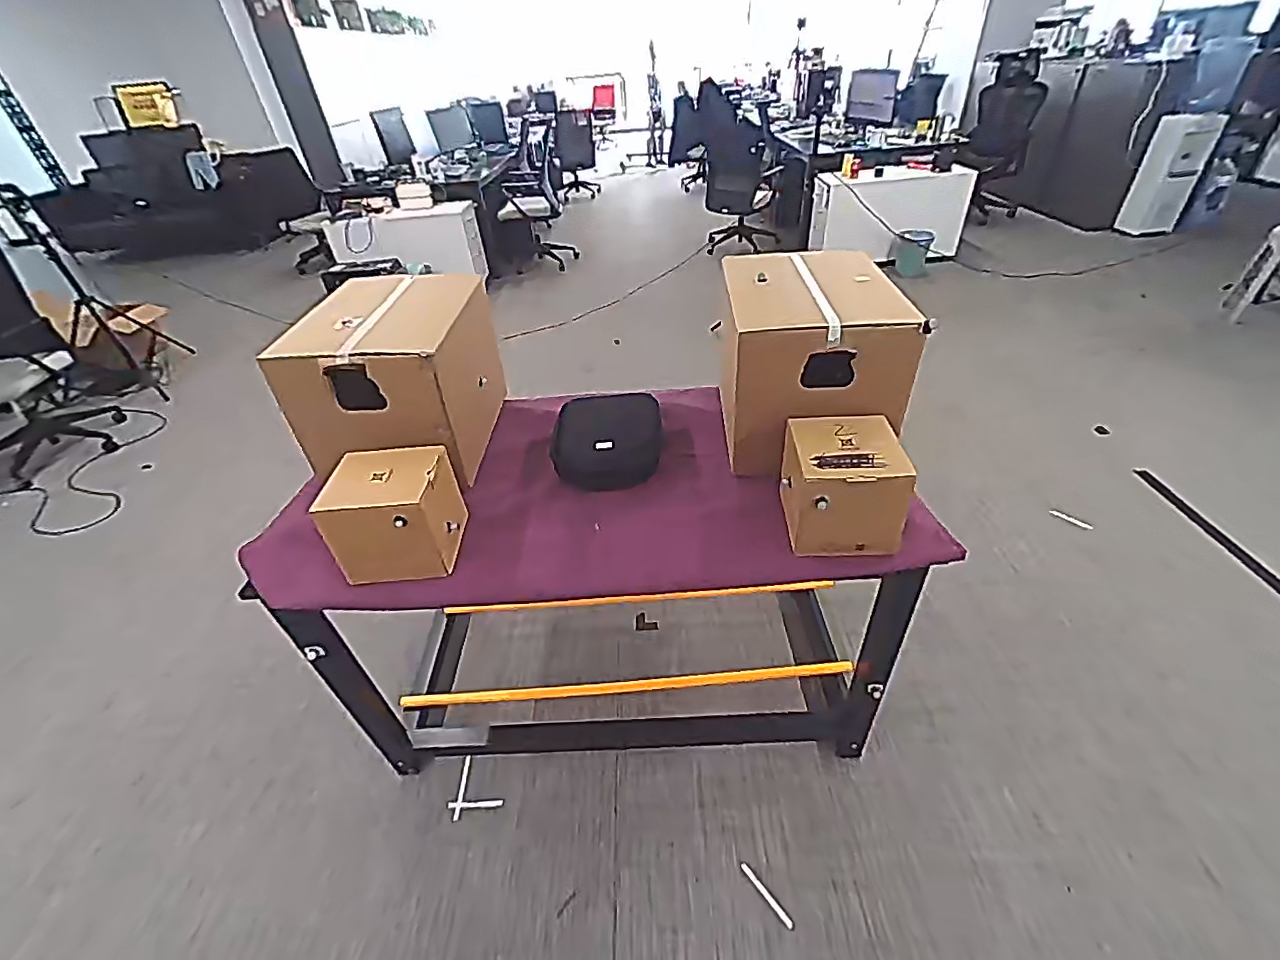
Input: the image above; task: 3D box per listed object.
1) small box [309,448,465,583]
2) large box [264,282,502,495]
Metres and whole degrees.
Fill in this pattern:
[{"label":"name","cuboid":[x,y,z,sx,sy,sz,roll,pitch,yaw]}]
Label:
[{"label":"small box","cuboid":[-0.426,0.063,0.945,0.179,0.176,0.168,-5,37,-2]},{"label":"large box","cuboid":[-0.507,-0.207,1.182,0.320,0.320,0.408,-3,40,1]}]
